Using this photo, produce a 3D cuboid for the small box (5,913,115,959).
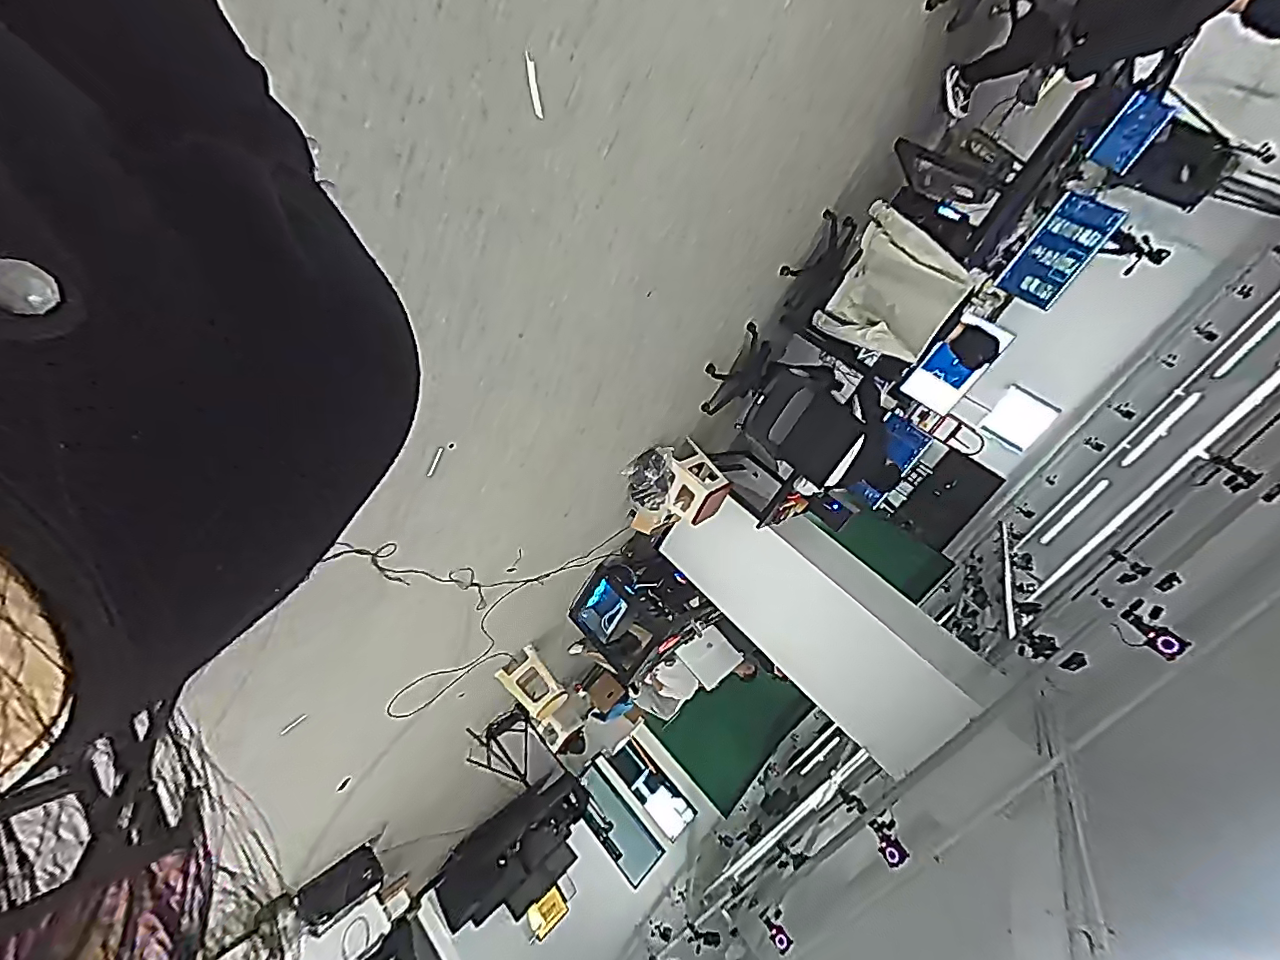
[{"bbox_3d":[-1.276,1.111,1.184,0.168,0.176,0.179,-11,138,-55],"label":"small box"}]
